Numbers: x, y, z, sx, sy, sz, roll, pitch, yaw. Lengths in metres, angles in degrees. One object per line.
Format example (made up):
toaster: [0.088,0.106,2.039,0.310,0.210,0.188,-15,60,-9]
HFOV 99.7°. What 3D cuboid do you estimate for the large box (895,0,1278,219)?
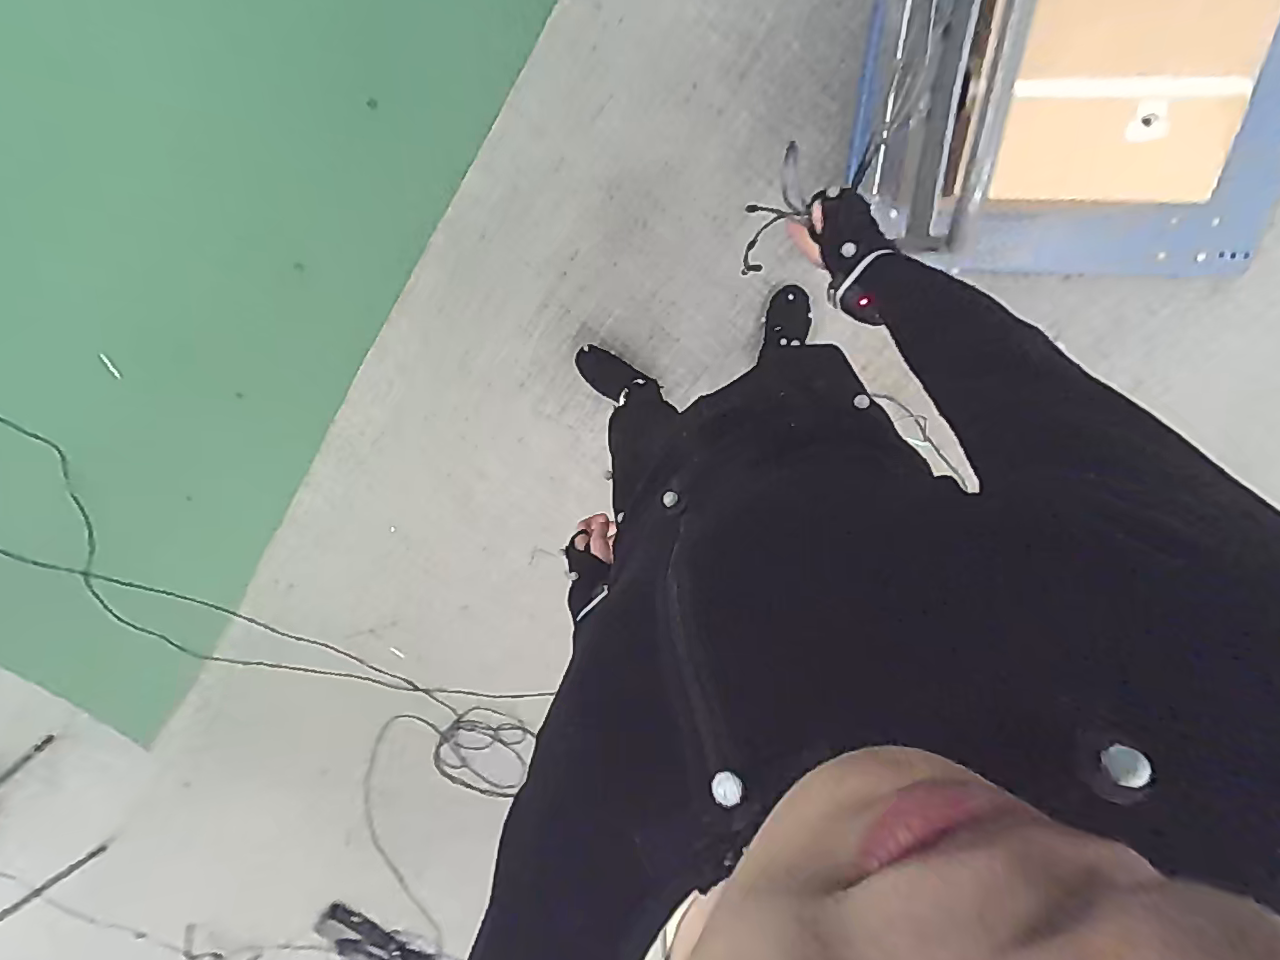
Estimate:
large box: [0.742,-0.657,0.984,0.408,0.320,0.320,3,113,4]
